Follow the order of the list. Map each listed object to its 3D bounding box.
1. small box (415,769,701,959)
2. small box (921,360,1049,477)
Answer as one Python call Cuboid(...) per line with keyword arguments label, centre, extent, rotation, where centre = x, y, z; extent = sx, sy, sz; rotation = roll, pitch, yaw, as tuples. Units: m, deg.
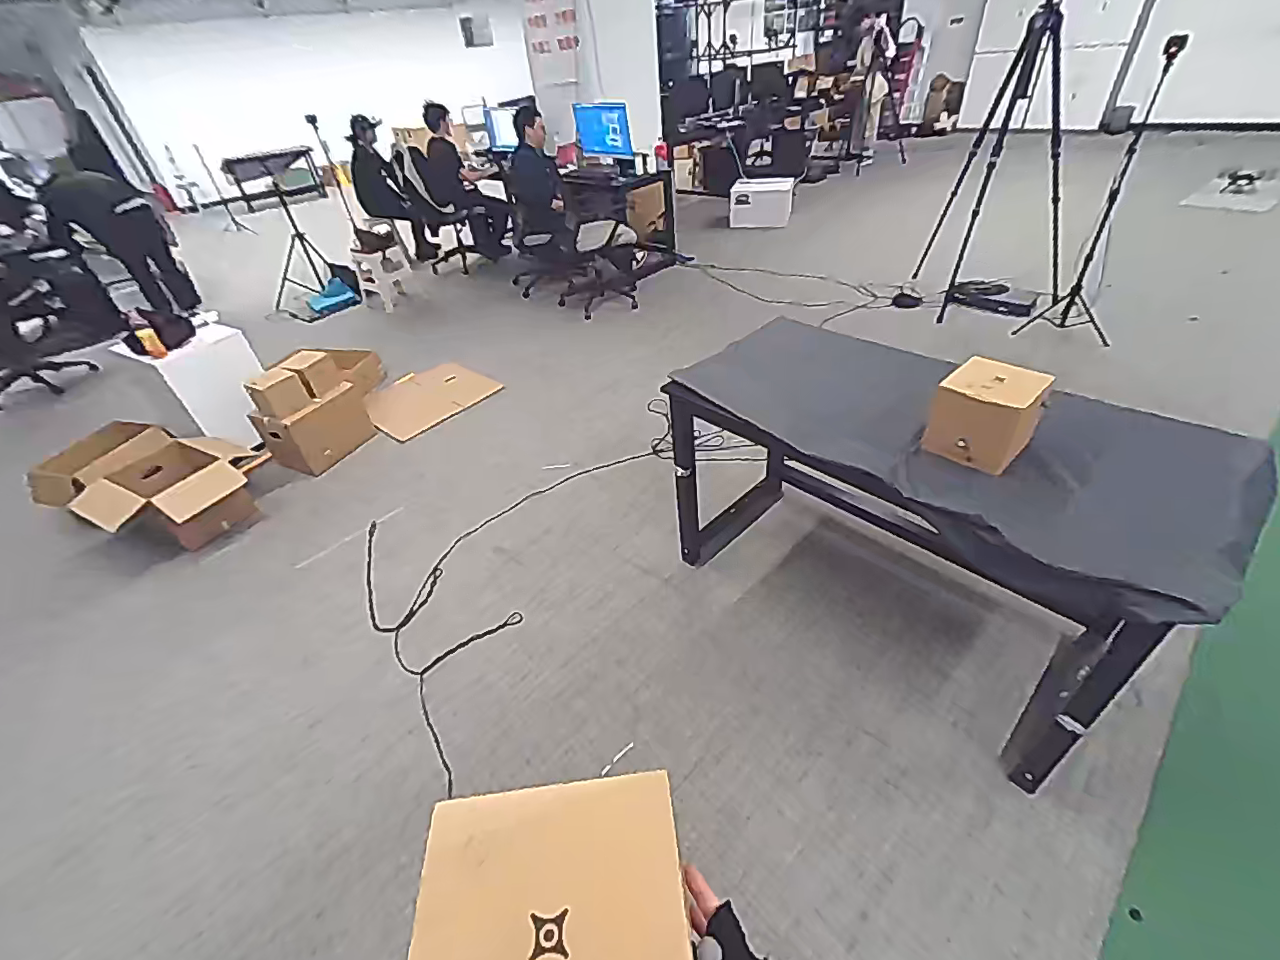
Cuboid(label="small box", centre=(-0.045, 0.329, 0.367), extent=(0.168, 0.176, 0.179), rotation=(-7, 42, -2))
Cuboid(label="small box", centre=(0.749, -0.137, 1.189), extent=(0.179, 0.176, 0.168), rotation=(-33, 45, -29))
